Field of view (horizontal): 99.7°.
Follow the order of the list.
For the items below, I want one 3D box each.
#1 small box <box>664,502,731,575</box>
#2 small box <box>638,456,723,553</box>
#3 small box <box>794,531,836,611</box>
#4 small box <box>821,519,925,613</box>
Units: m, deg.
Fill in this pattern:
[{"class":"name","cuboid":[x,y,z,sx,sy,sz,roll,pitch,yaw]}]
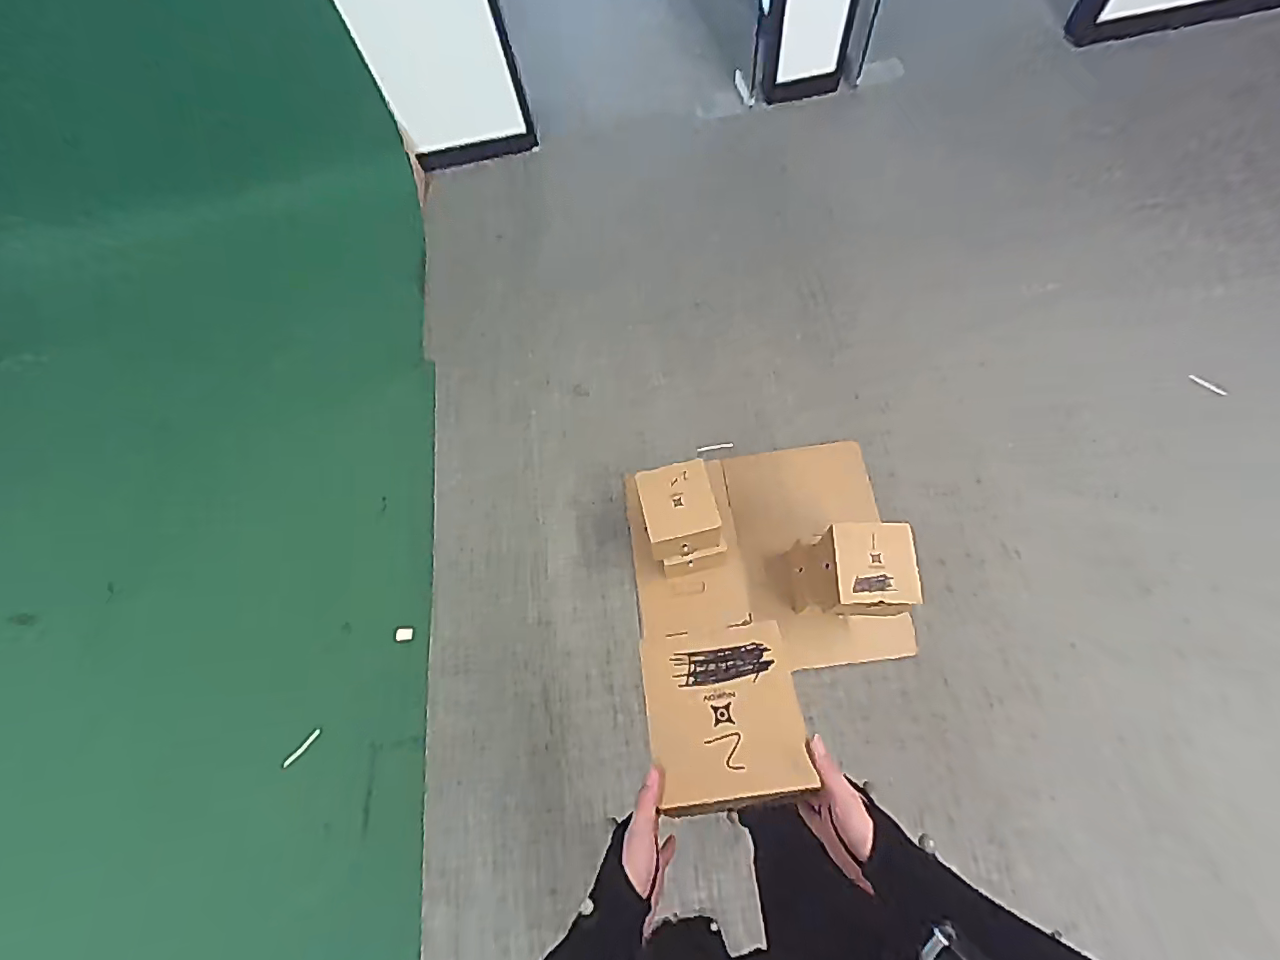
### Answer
[{"class":"small box","cuboid":[0.136,0.137,1.440,0.168,0.176,0.179,-14,68,1]},{"class":"small box","cuboid":[0.098,0.067,1.293,0.168,0.176,0.179,-13,67,0]},{"class":"small box","cuboid":[0.492,0.232,1.360,0.168,0.176,0.179,-4,68,6]},{"class":"small box","cuboid":[0.505,0.195,1.196,0.168,0.176,0.179,0,67,6]}]
